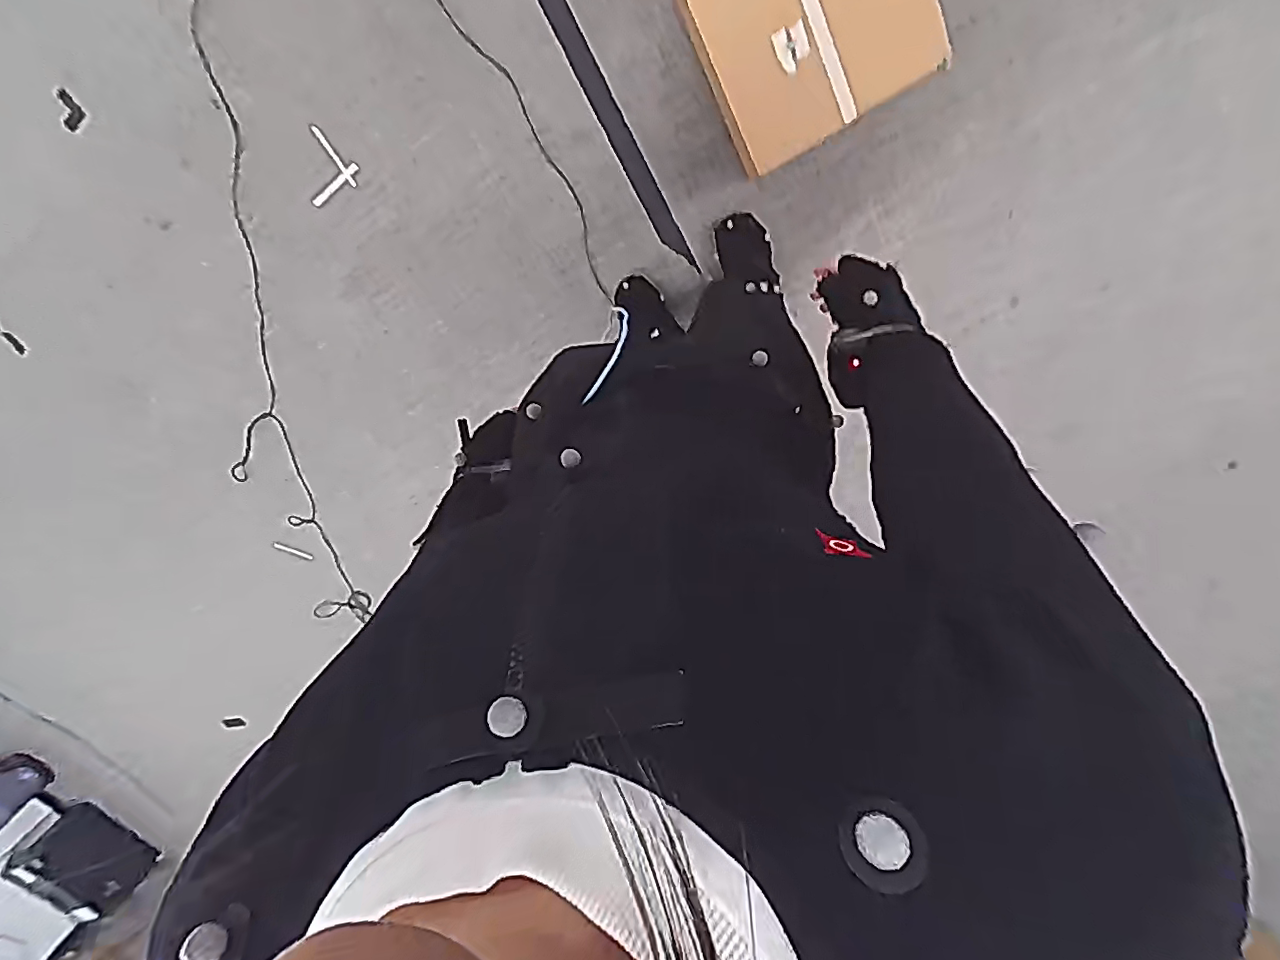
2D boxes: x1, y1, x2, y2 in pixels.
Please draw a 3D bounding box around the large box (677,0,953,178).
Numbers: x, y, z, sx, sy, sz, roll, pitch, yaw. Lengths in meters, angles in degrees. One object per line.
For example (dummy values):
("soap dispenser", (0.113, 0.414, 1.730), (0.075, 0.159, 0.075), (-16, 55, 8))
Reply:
("large box", (0.264, -0.800, 0.927), (0.320, 0.320, 0.408), (-24, 112, 21))
